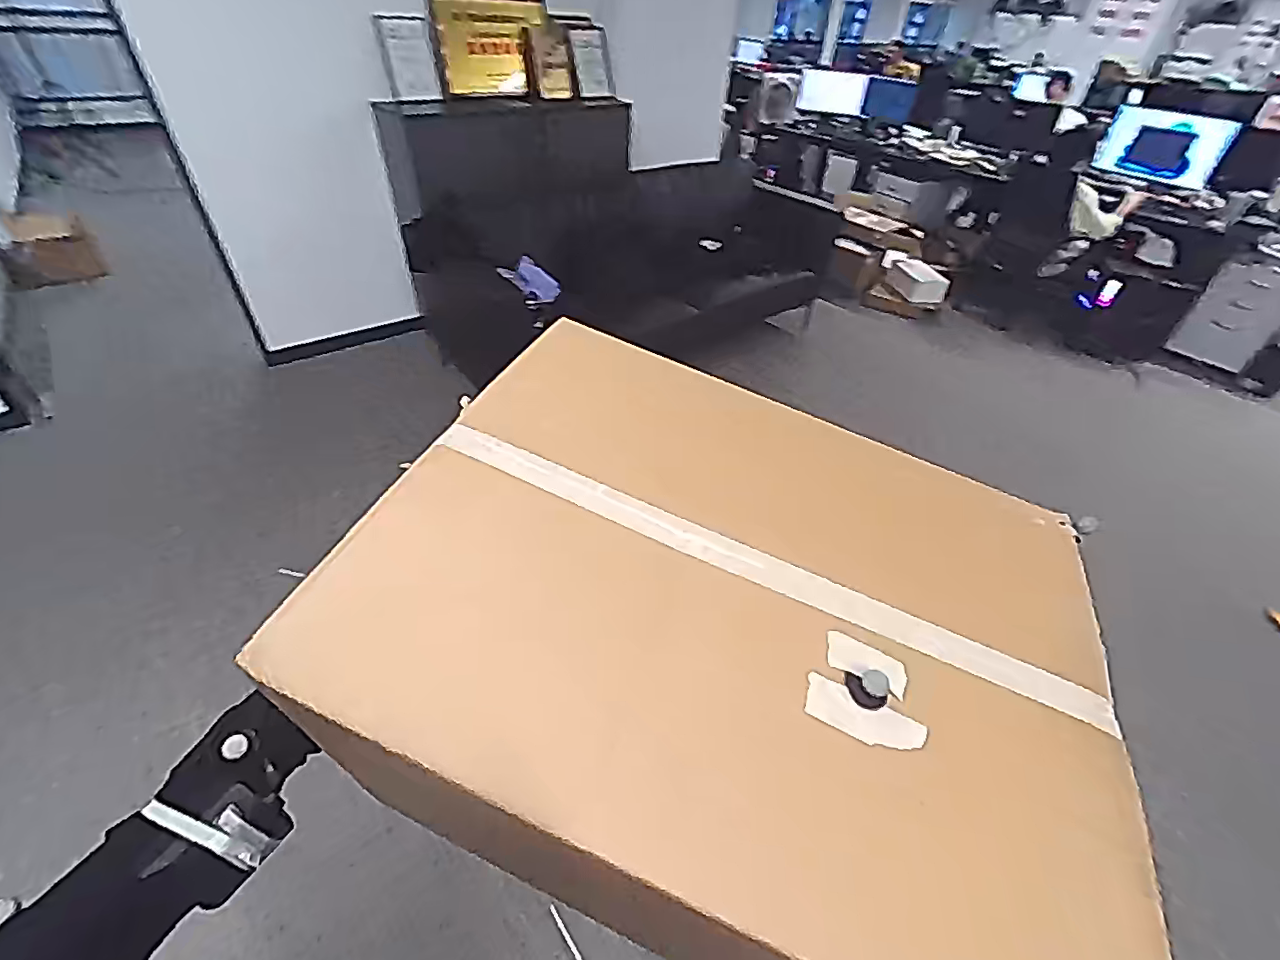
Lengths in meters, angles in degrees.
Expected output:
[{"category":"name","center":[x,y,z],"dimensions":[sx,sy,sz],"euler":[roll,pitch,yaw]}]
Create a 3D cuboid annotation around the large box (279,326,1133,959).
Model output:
[{"category":"large box","center":[0.038,0.144,0.434],"dimensions":[0.408,0.320,0.320],"euler":[24,50,6]}]
